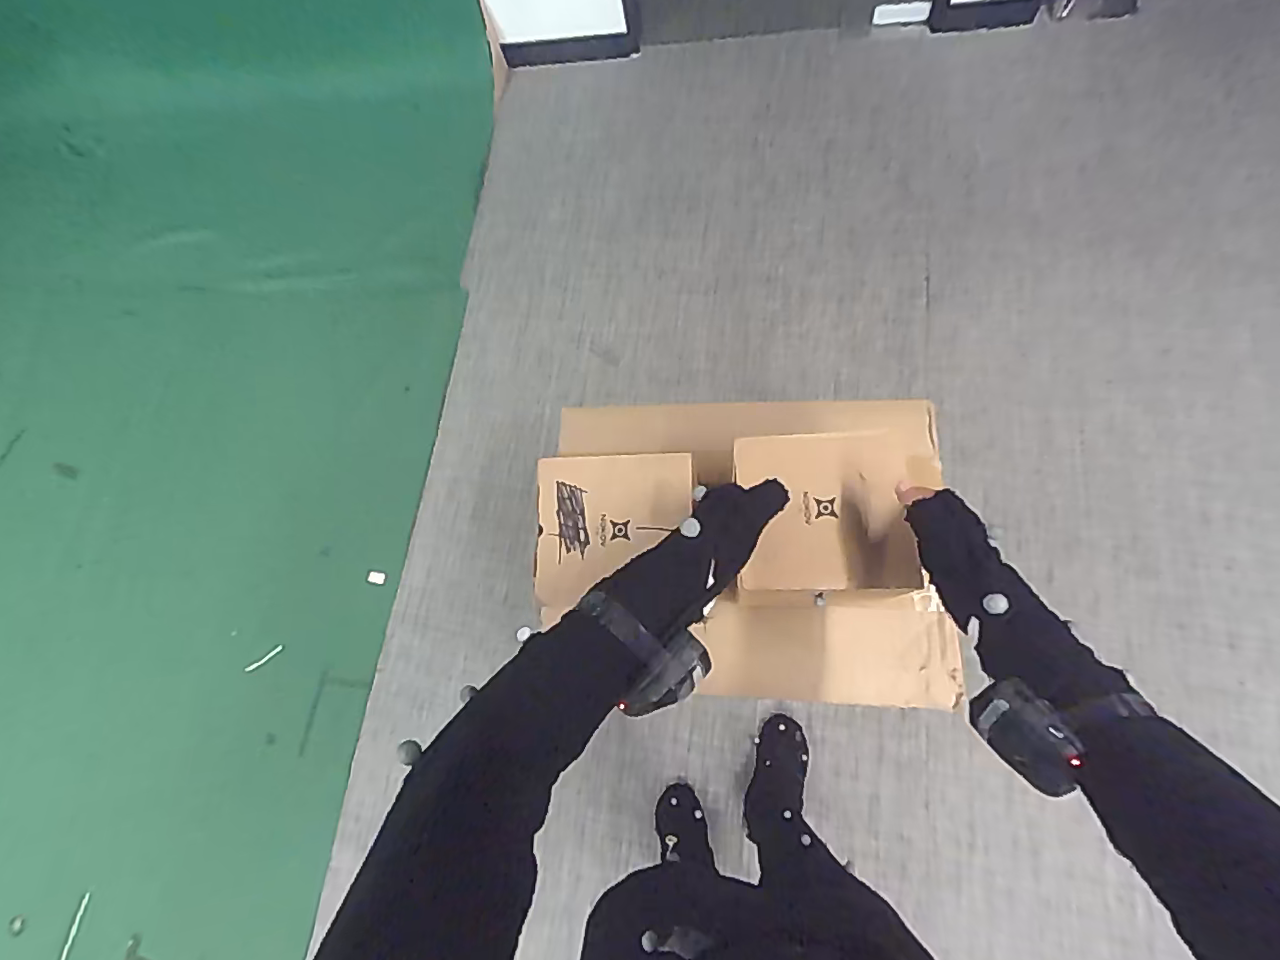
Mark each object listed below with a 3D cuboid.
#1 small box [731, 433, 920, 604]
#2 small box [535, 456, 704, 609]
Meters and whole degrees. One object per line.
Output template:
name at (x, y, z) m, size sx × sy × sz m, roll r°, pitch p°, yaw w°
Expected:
small box at (0.198, 0.055, 0.632) m, size 0.179 × 0.176 × 0.168 m, roll -3°, pitch 73°, yaw 7°
small box at (-0.014, 0.070, 0.664) m, size 0.179 × 0.176 × 0.168 m, roll -1°, pitch 79°, yaw 9°
